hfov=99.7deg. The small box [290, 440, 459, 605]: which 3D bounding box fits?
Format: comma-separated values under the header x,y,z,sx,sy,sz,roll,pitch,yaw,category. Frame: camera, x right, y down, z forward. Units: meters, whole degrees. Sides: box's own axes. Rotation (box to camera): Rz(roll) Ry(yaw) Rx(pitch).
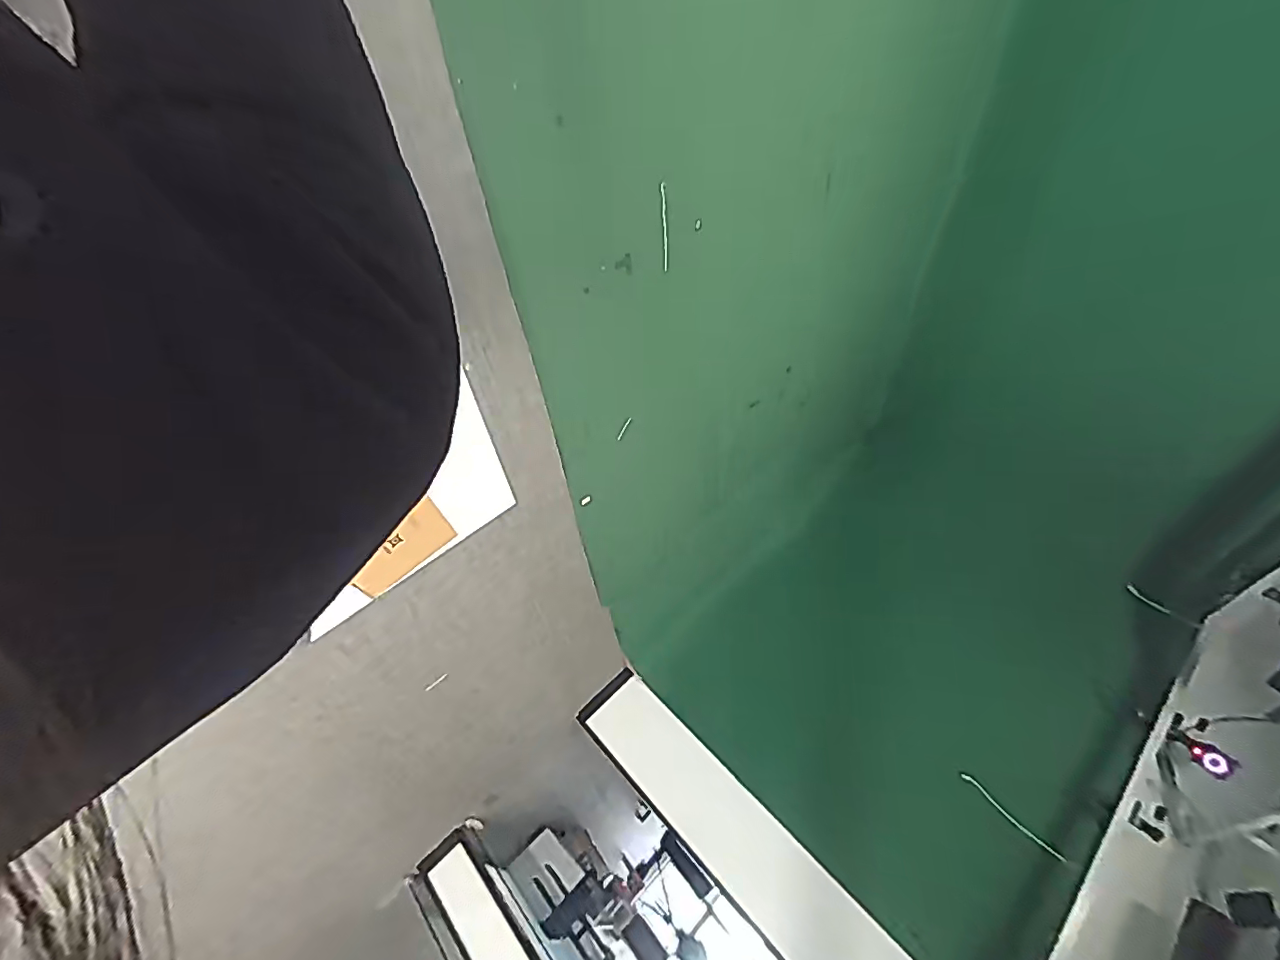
x,y,z,sx,sy,sz,roll,pitch,yaw,category
-0.446,0.067,0.903,0.179,0.176,0.168,-41,147,-20,small box
